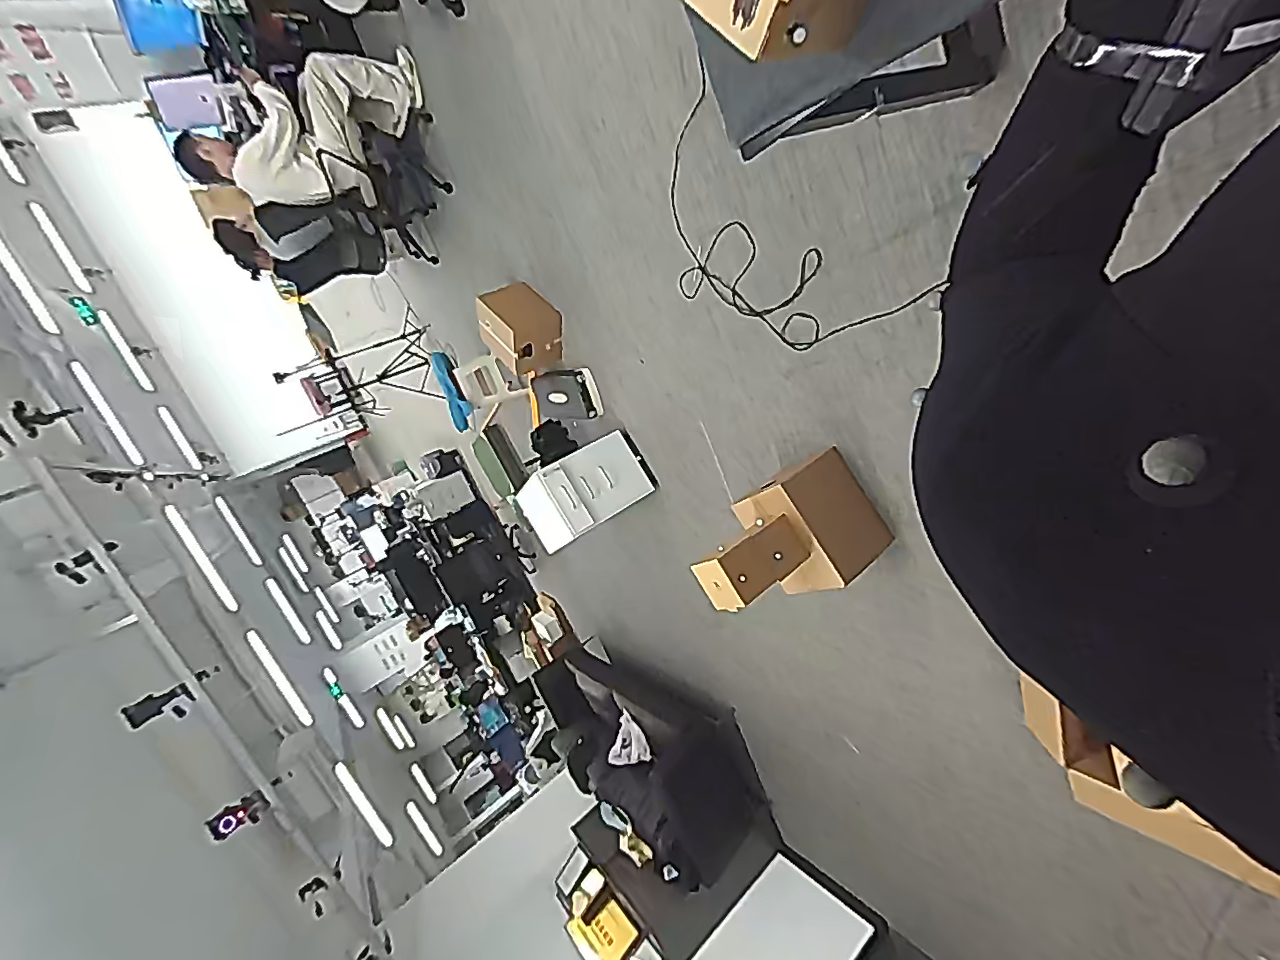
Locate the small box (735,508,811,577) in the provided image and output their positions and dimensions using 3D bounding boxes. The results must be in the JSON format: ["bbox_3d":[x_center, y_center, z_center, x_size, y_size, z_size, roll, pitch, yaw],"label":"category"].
[{"bbox_3d":[0.452,0.222,1.865,0.179,0.176,0.168,59,151,2],"label":"small box"}]

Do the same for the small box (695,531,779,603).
[{"bbox_3d":[0.322,0.283,1.787,0.179,0.176,0.168,58,151,1],"label":"small box"}]
